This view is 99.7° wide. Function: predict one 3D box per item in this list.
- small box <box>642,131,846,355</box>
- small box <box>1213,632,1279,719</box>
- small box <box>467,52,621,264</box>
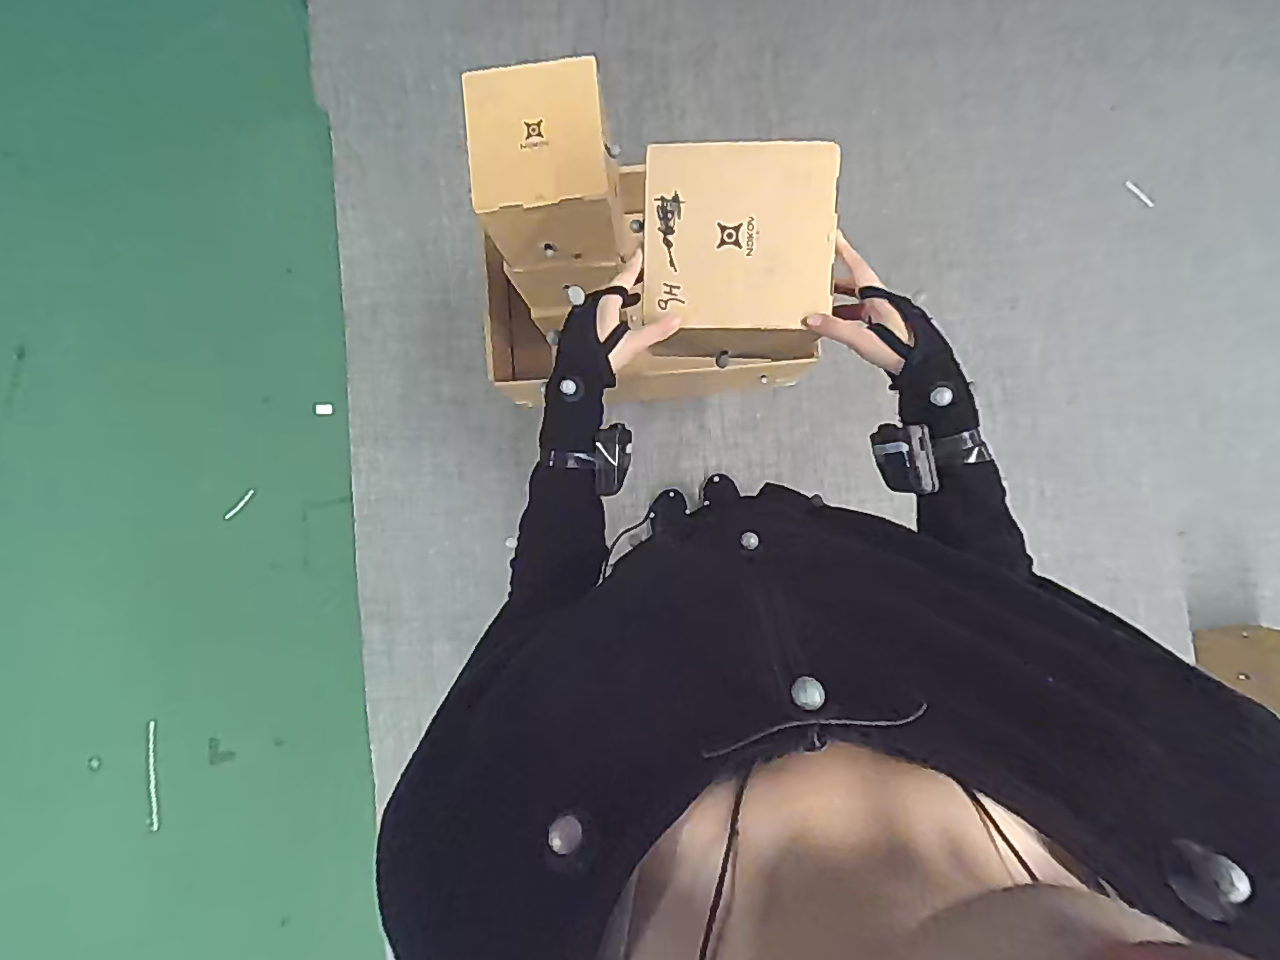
[{"bbox_3d":[0.095,-0.229,0.562,0.179,0.176,0.168,2,92,3],"label":"small box"},{"bbox_3d":[1.577,0.479,1.329,0.168,0.176,0.179,-6,87,4],"label":"small box"},{"bbox_3d":[-0.118,-0.416,0.725,0.168,0.176,0.179,-5,88,3],"label":"small box"}]
